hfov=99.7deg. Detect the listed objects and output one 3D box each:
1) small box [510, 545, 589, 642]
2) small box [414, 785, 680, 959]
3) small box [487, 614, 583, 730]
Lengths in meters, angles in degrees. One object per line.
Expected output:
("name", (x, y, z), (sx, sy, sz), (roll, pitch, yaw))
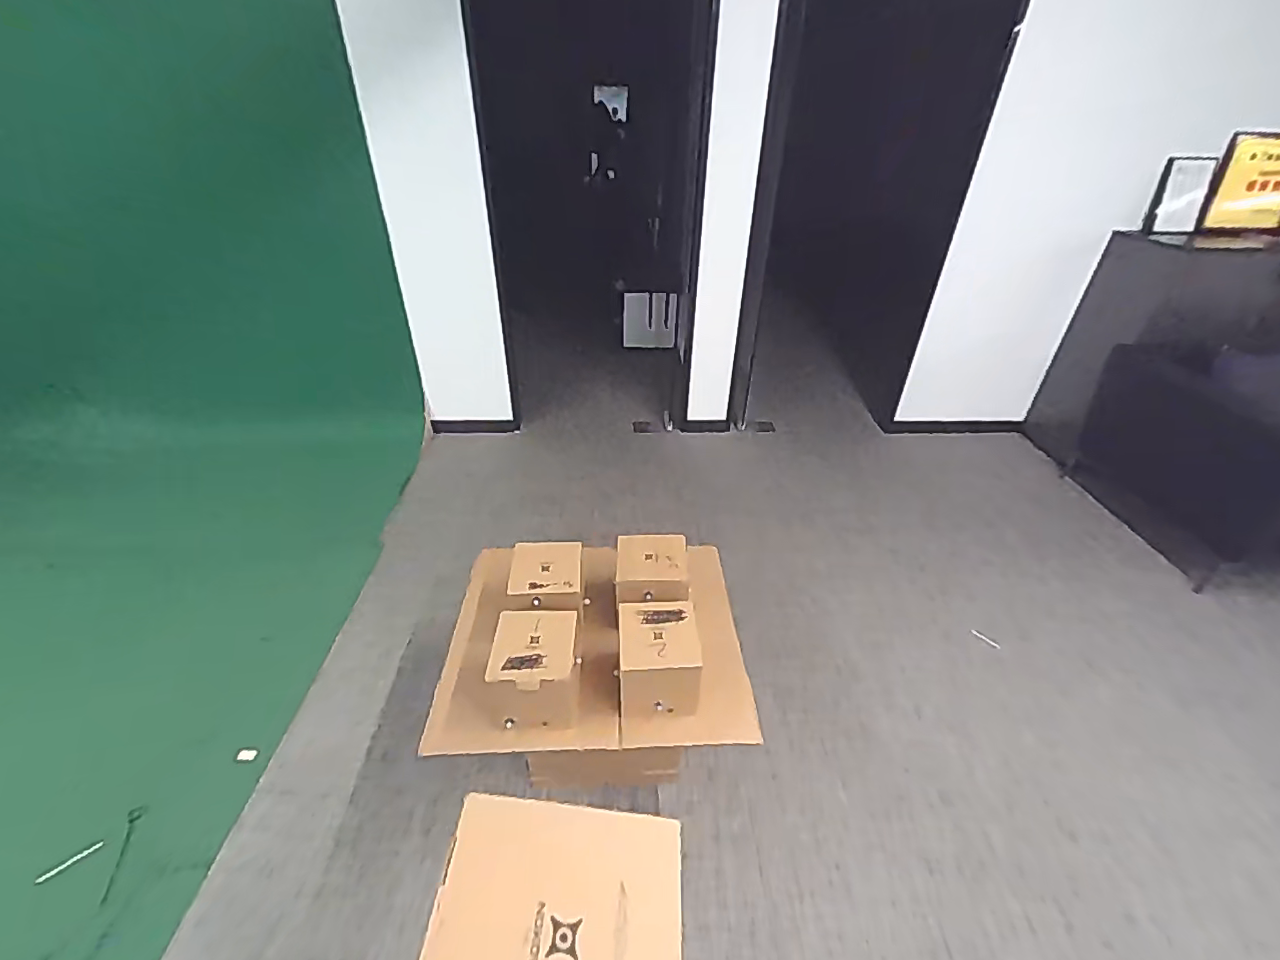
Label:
("small box", (-0.215, 0.280, 1.323), (0.168, 0.176, 0.179), (-3, 33, -2))
("small box", (-0.072, 0.369, 0.422), (0.179, 0.176, 0.168), (11, 39, -4))
("small box", (-0.210, 0.406, 1.139), (0.168, 0.176, 0.179), (0, 33, -1))
